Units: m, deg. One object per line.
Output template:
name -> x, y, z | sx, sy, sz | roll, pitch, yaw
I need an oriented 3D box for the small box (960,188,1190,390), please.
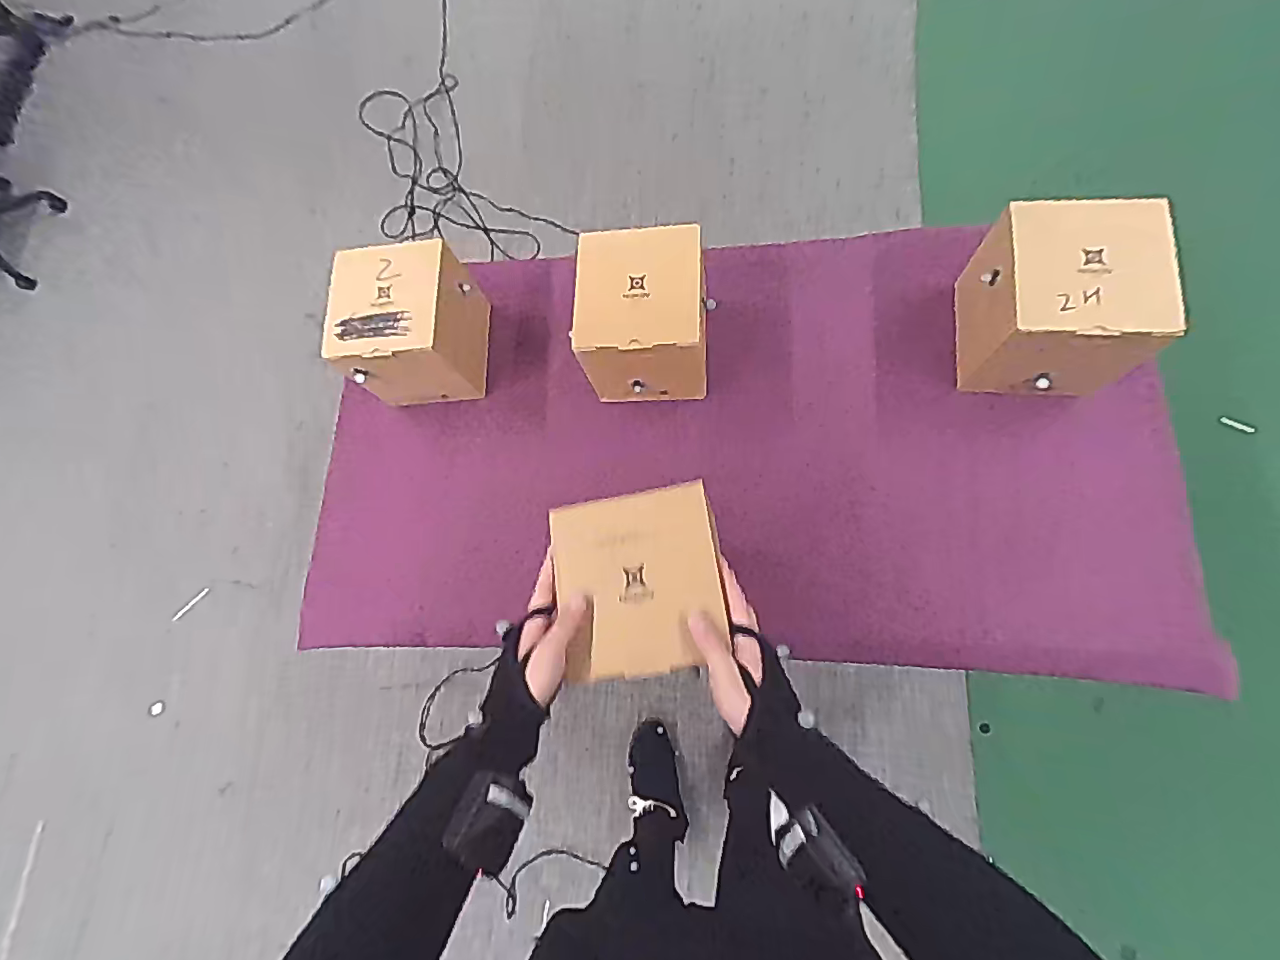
small box -> 0.520, -0.231, 0.676 | 0.168, 0.176, 0.179 | 4, 77, 12

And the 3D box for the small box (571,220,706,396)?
small box -> 0.006, -0.233, 0.765 | 0.168, 0.176, 0.179 | -1, 77, 9
